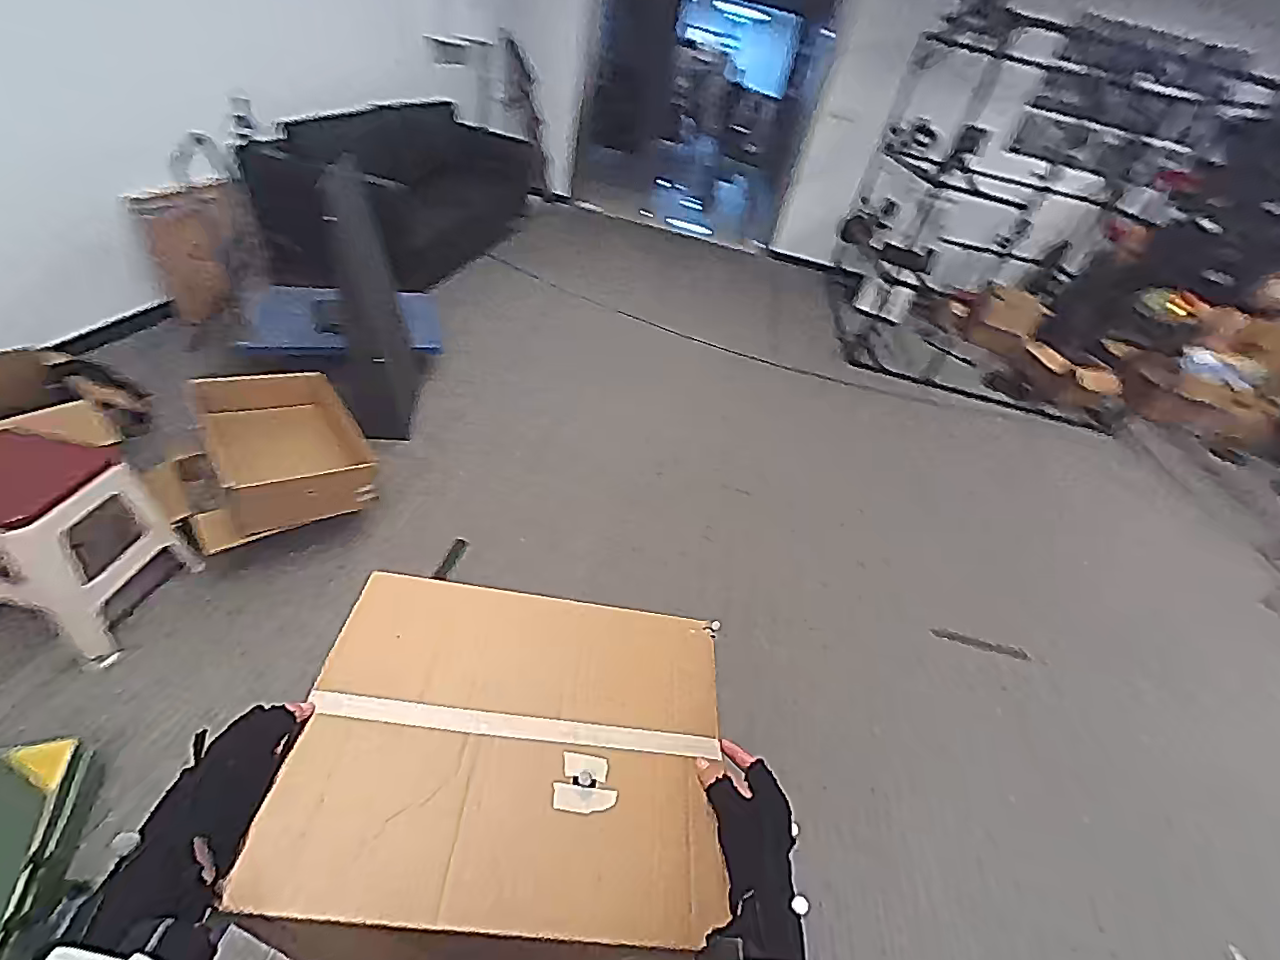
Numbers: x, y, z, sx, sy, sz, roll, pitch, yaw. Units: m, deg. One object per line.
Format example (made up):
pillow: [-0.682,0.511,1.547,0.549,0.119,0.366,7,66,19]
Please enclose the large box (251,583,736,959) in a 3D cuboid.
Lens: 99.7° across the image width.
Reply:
large box: [-0.135,0.365,0.646,0.408,0.320,0.320,11,42,-5]
